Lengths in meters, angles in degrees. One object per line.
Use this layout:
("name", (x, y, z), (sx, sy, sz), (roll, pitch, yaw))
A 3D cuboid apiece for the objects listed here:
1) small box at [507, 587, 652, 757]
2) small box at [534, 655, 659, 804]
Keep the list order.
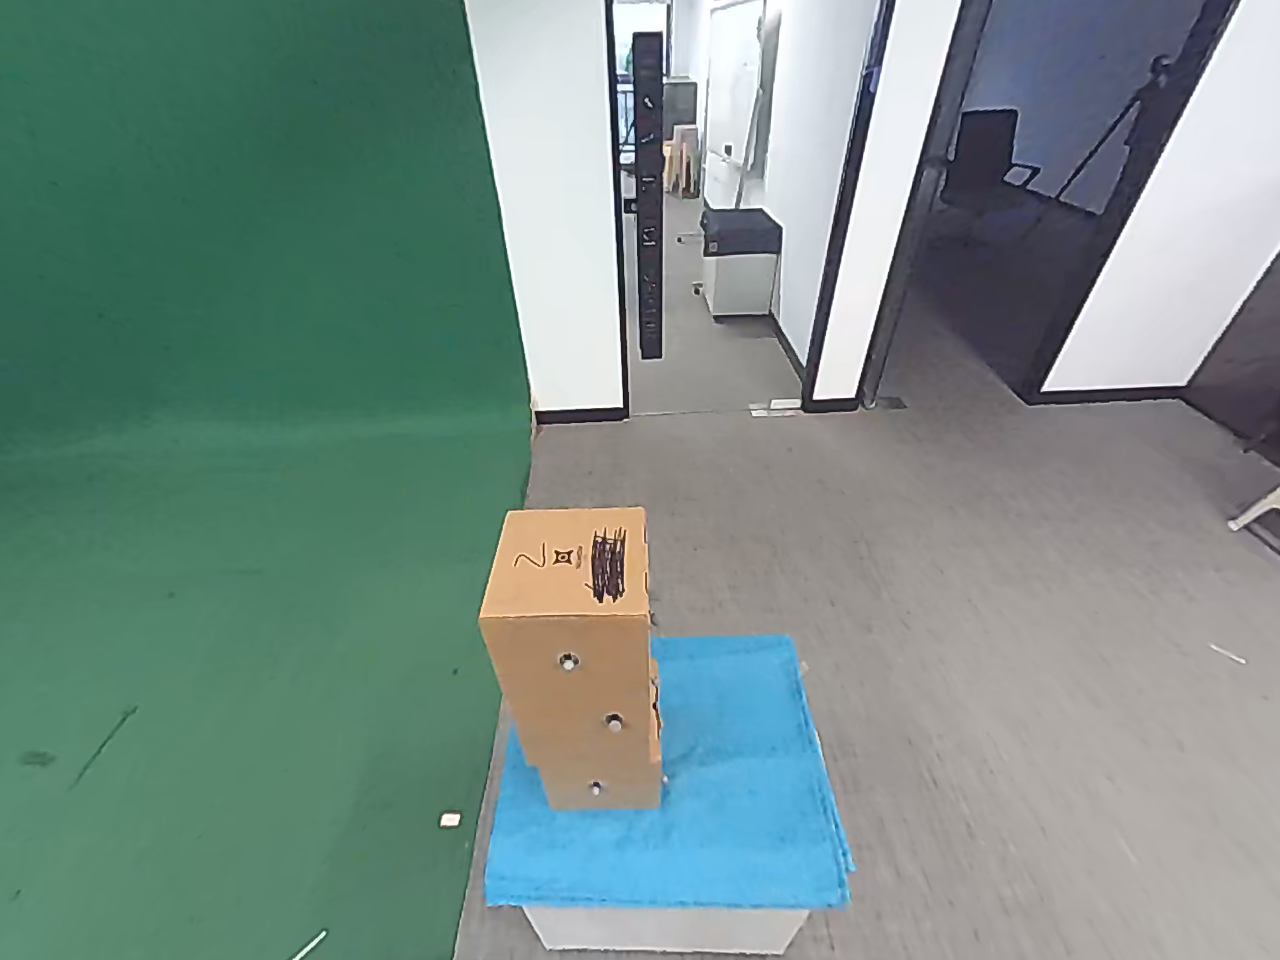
("small box", (-0.074, 0.269, 0.759), (0.179, 0.176, 0.168), (-1, 38, 0))
("small box", (-0.061, 0.396, 0.863), (0.179, 0.176, 0.168), (-1, 39, 0))
